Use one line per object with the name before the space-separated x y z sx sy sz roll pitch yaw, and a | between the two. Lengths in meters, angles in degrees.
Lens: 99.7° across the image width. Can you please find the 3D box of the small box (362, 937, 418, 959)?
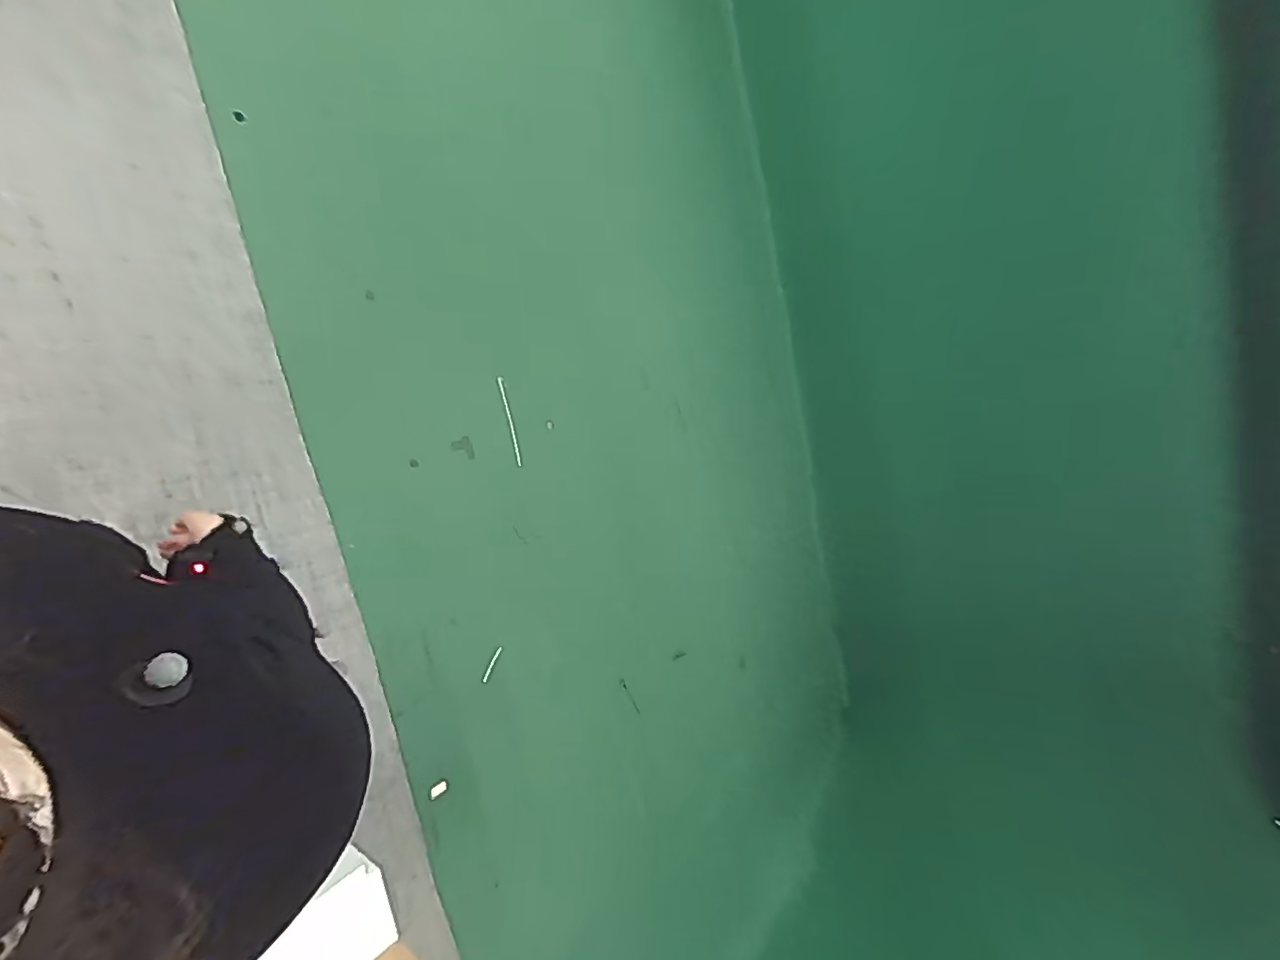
small box | -0.398 0.861 0.818 0.179 0.176 0.168 -20 101 -48
